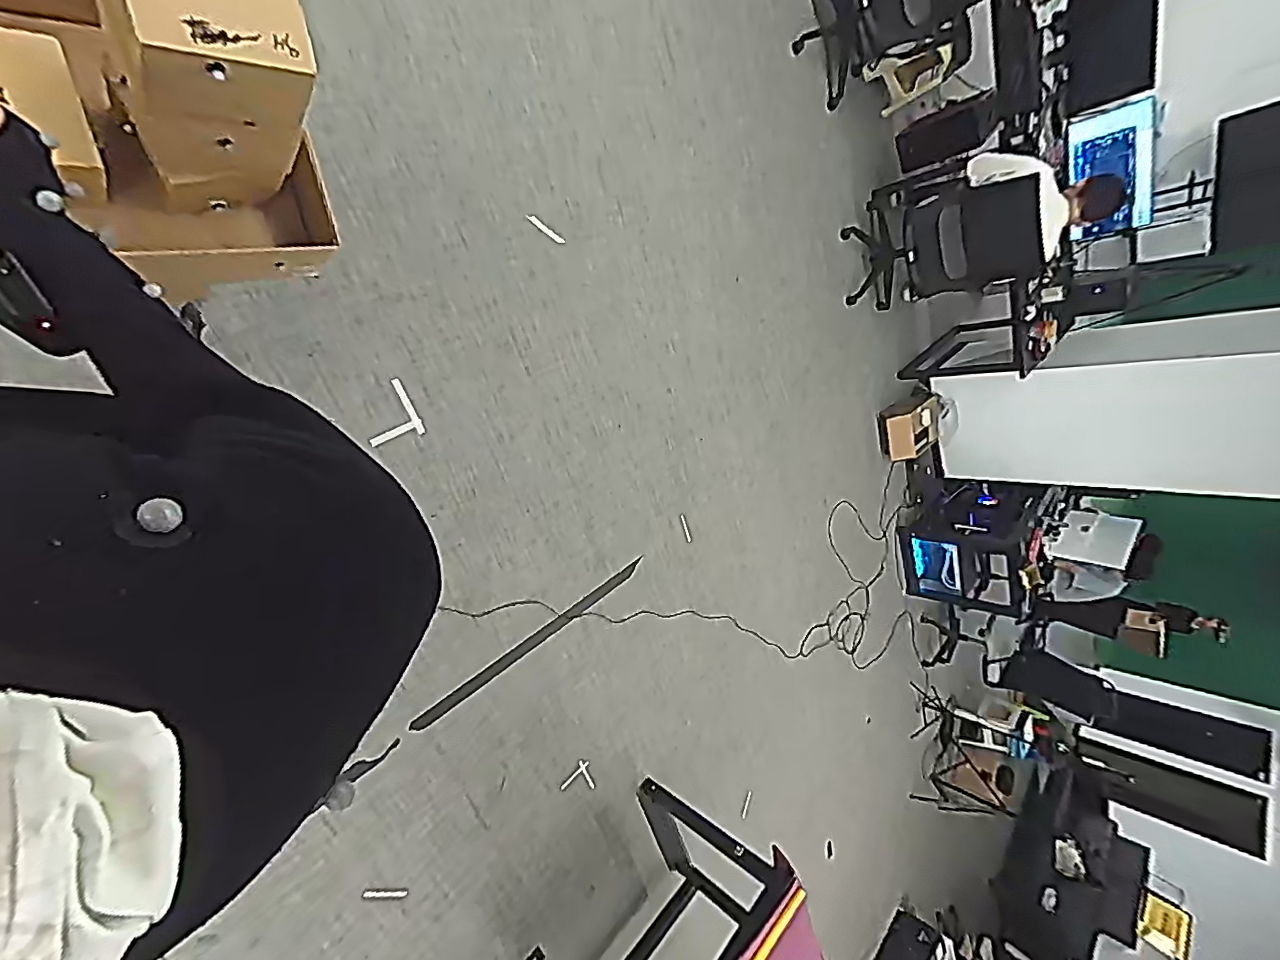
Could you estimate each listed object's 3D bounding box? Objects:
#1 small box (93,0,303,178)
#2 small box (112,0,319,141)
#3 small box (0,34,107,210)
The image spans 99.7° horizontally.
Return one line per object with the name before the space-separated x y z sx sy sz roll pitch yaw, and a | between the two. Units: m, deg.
small box | -0.609 -0.542 0.759 0.179 0.176 0.168 -25 109 -36
small box | -0.503 -0.538 0.633 0.168 0.176 0.179 -18 104 -37
small box | -0.881 -0.488 0.747 0.179 0.176 0.168 -21 106 -39
